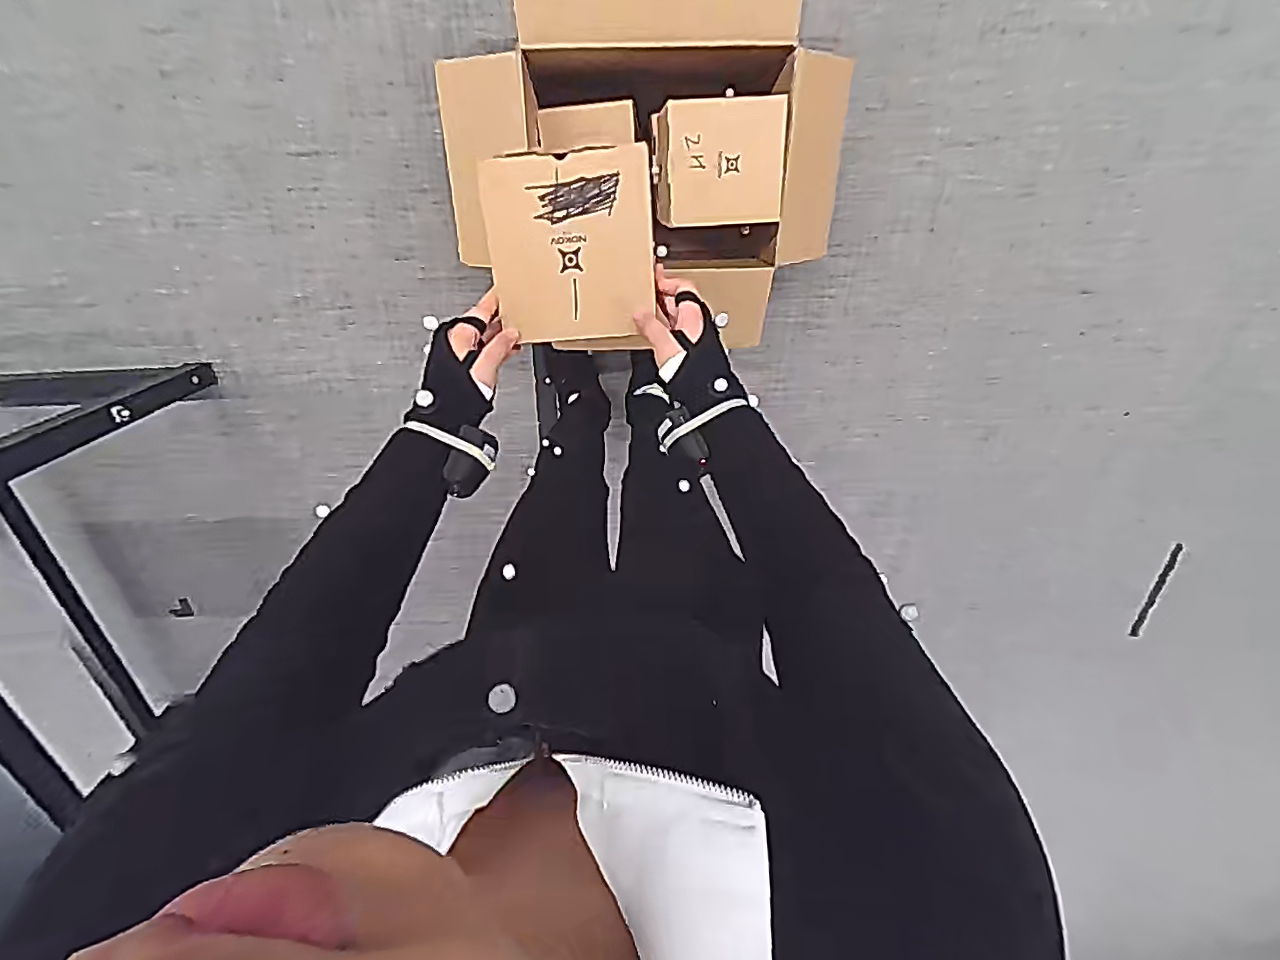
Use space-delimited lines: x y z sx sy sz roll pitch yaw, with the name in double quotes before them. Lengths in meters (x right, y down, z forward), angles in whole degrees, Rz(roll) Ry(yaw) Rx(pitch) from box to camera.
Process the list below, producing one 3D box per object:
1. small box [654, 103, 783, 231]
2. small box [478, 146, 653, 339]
"small box" 0.118 -0.504 0.880 0.179 0.176 0.168 -4 118 -1
"small box" -0.072 -0.267 0.624 0.168 0.176 0.179 -3 114 2
